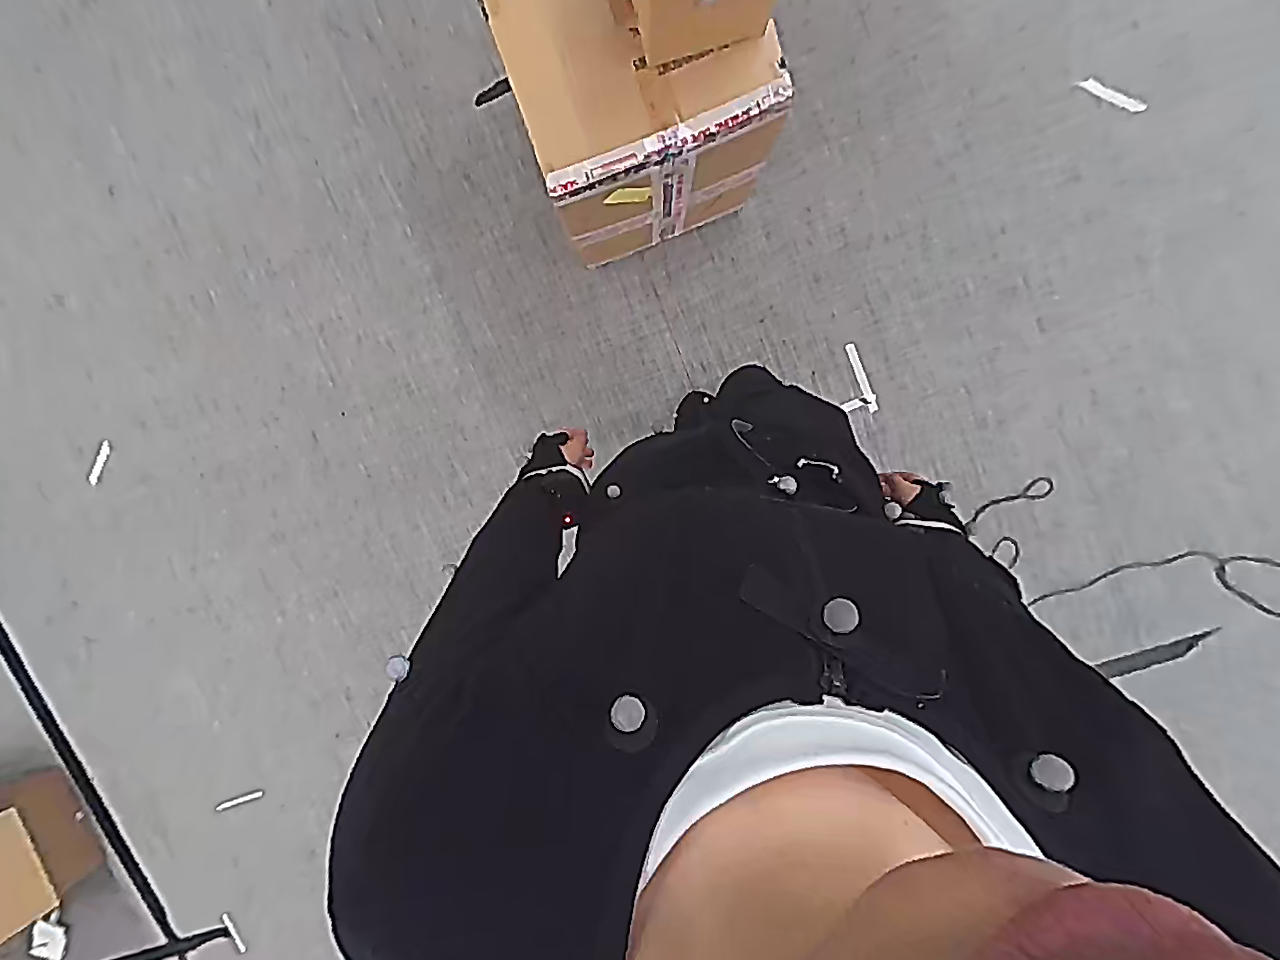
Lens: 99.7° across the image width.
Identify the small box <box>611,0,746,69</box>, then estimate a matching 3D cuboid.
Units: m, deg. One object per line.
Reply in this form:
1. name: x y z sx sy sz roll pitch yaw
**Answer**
1. small box: 0.043 -0.692 0.710 0.179 0.176 0.168 -17 97 2
